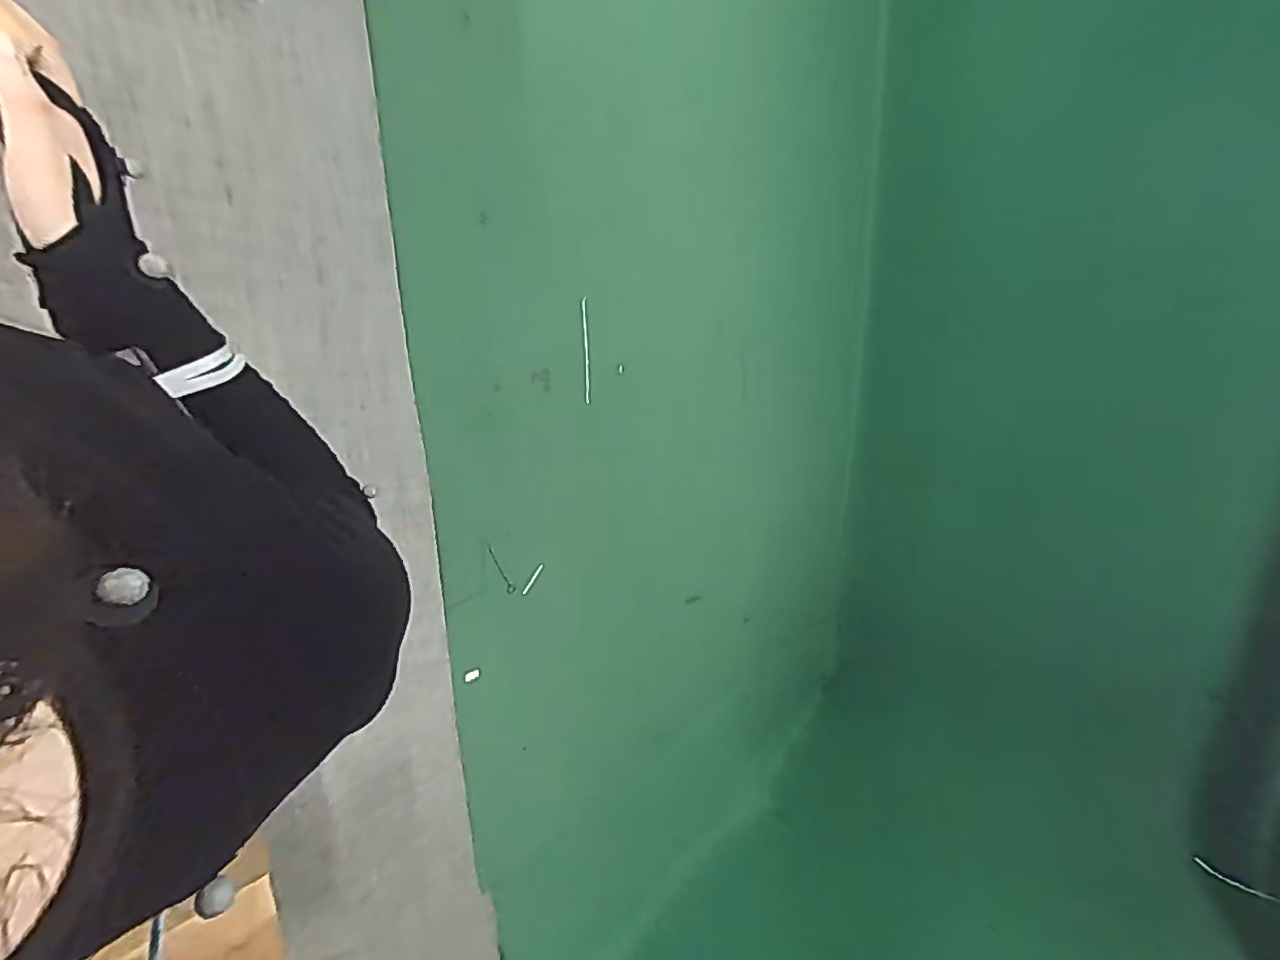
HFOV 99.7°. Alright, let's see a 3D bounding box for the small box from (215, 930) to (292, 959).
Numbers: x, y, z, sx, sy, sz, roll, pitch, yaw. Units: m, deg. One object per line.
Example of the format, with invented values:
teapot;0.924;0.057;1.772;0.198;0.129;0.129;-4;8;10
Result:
small box;-0.799;1.073;1.095;0.168;0.176;0.179;-13;111;-45
